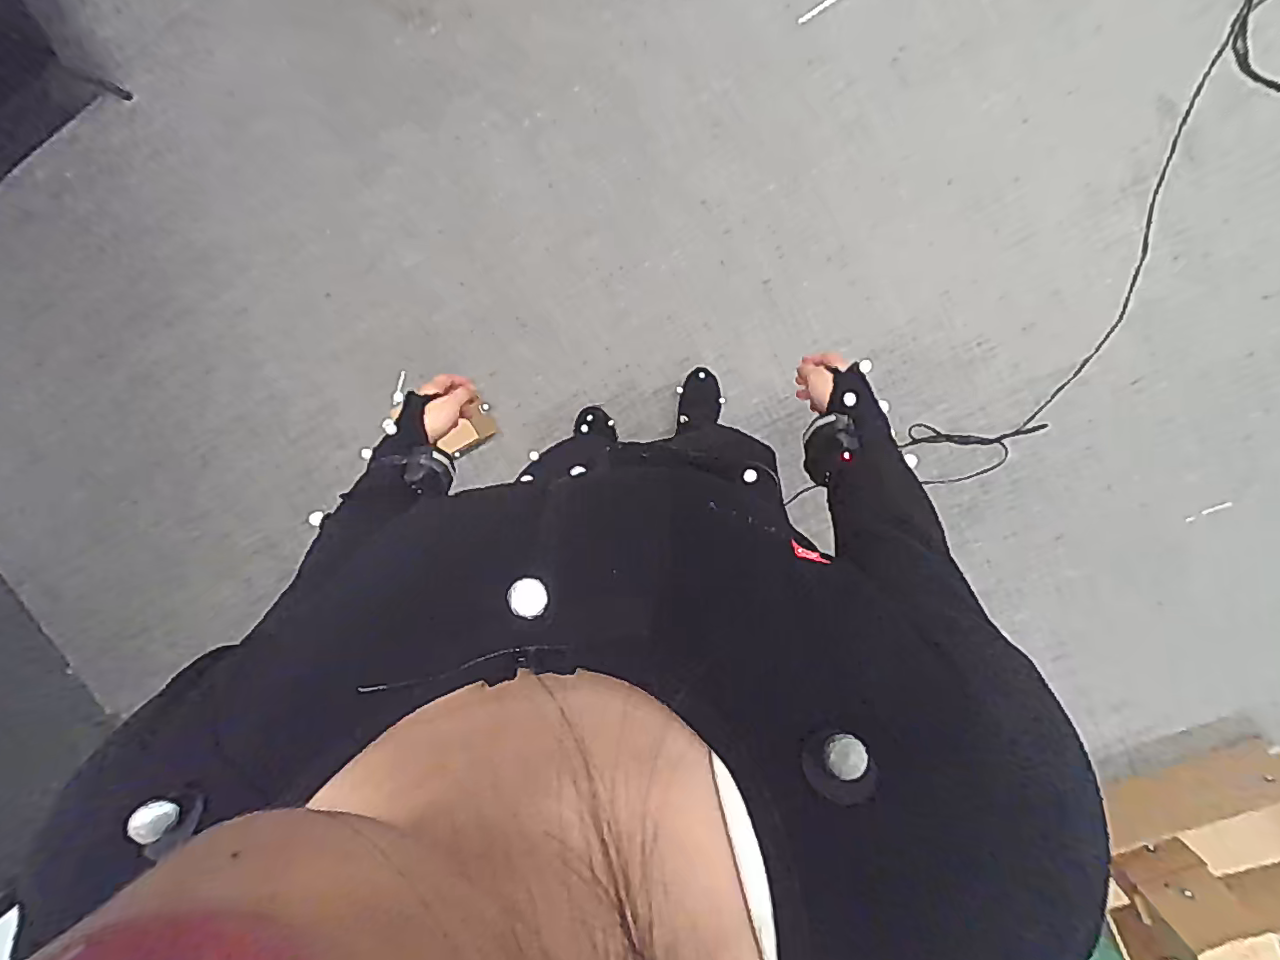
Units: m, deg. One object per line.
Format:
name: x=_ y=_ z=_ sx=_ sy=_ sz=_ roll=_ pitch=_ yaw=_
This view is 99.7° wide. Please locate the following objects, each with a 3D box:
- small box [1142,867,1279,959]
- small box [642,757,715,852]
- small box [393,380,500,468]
small box: x=1.369 y=1.081 z=1.288 sx=0.168 sy=0.176 sz=0.179 roll=-27 pitch=98 yaw=9
small box: x=0.113 y=0.958 z=1.610 sx=0.179 sy=0.176 sz=0.168 roll=-16 pitch=100 yaw=8
small box: x=-0.505 y=-0.153 z=1.435 sx=0.179 sy=0.176 sz=0.168 roll=-28 pitch=99 yaw=10
